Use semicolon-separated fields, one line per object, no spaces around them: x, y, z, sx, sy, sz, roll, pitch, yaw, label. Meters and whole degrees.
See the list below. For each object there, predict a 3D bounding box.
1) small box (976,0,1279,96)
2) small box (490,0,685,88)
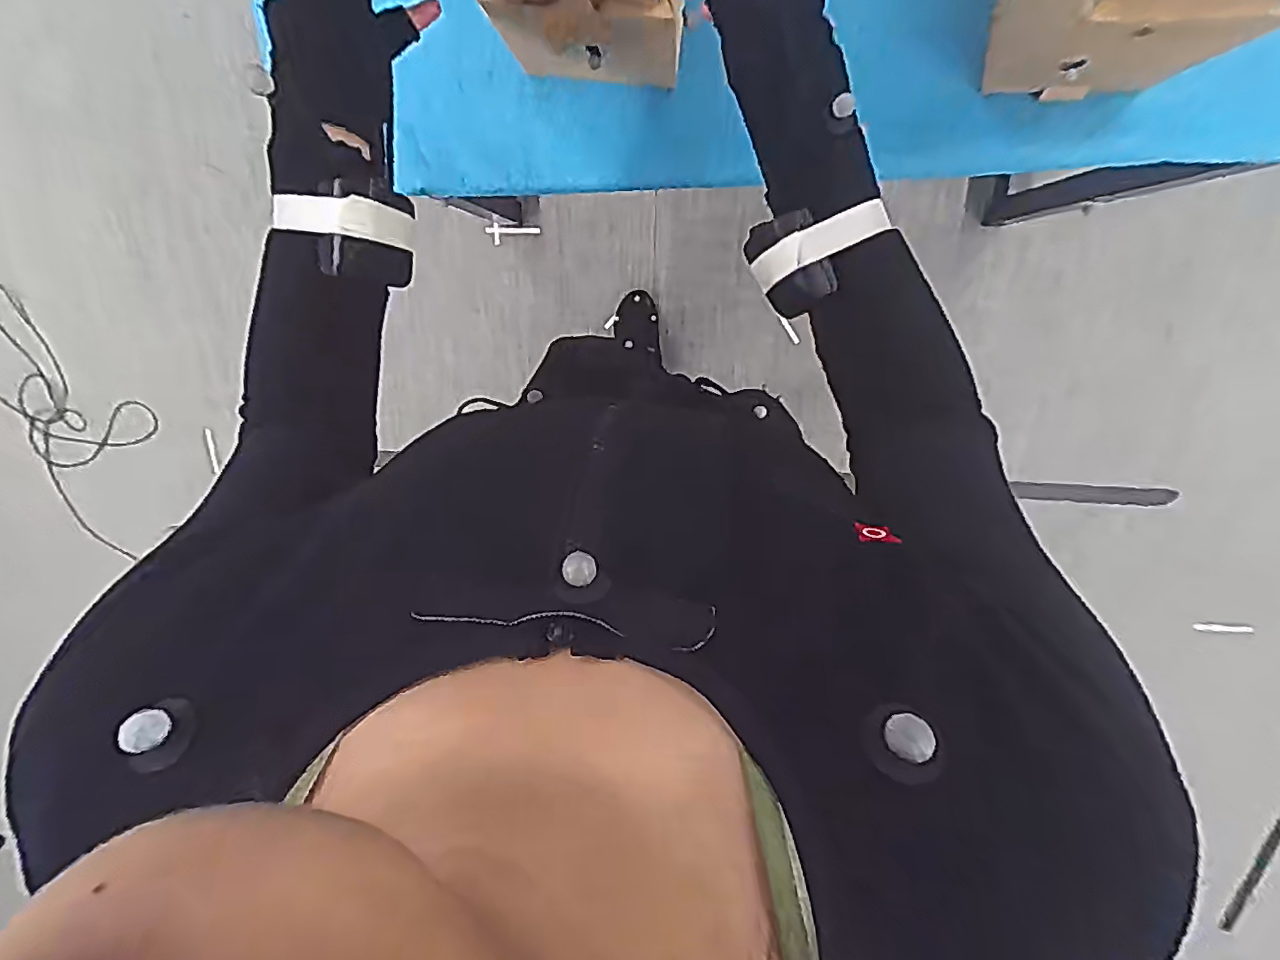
0.430;-0.466;0.466;0.168;0.176;0.179;1;108;3;small box
-0.039;-0.490;0.487;0.168;0.176;0.179;6;110;1;small box
